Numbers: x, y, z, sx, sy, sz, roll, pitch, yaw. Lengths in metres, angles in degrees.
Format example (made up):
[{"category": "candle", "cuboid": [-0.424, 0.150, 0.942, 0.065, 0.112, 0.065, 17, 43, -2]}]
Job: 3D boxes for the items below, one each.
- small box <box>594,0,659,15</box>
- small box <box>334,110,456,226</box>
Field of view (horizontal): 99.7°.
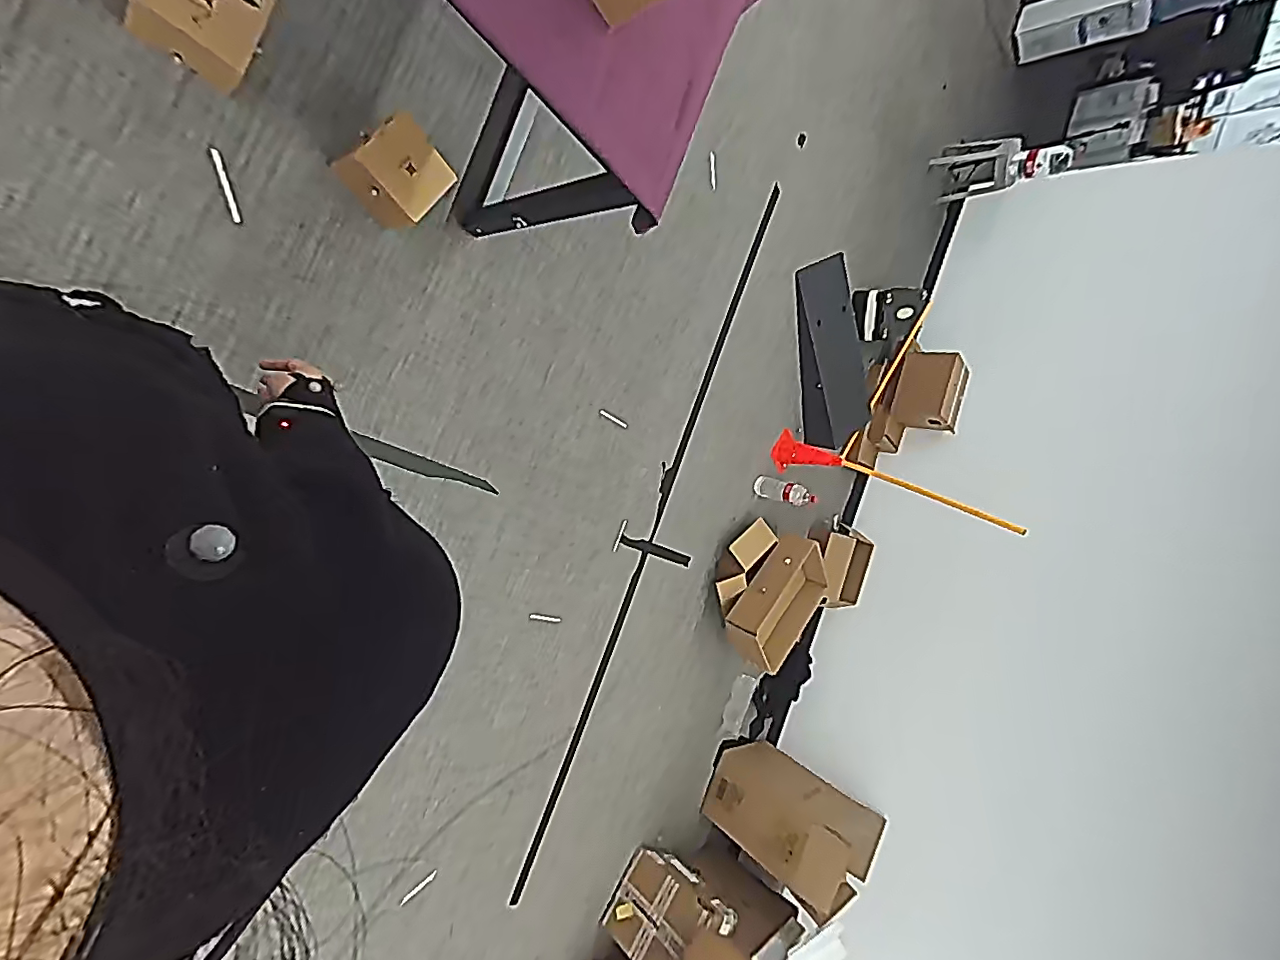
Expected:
[{"category": "small box", "cuboid": [-0.011, -0.827, 0.779, 0.179, 0.176, 0.168, 28, 81, -46]}, {"category": "small box", "cuboid": [-0.585, -0.731, 1.291, 0.168, 0.176, 0.179, -57, 133, -16]}]
